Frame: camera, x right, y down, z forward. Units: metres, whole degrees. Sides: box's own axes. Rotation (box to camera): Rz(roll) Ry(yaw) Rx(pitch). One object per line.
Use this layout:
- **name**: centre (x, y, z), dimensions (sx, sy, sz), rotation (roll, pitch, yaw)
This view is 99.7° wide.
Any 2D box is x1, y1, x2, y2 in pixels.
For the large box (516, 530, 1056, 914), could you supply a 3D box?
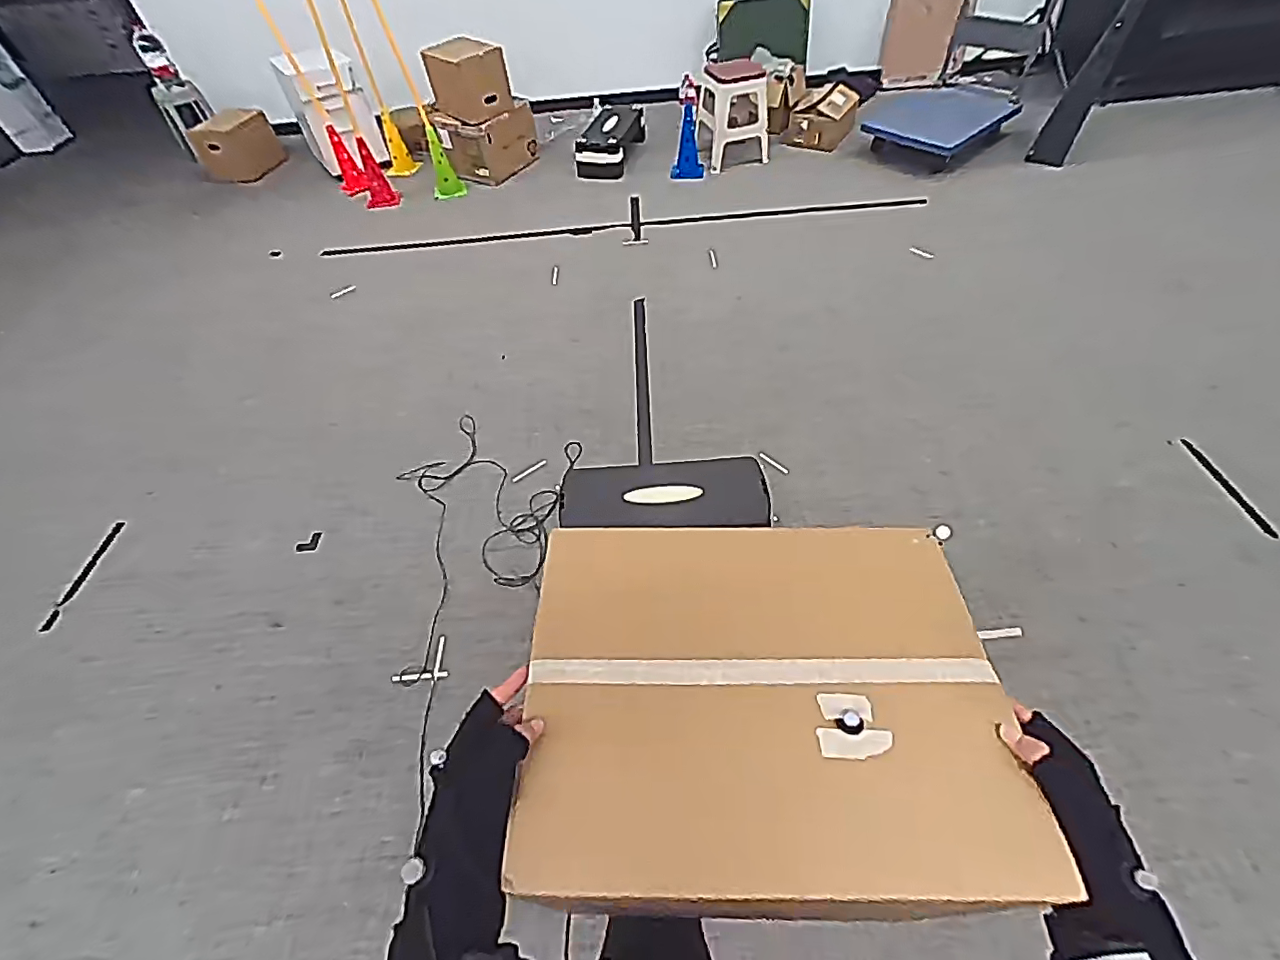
- **large box**: centre (0.106, 0.271, 0.600), dimensions (0.408, 0.320, 0.320), rotation (0, 49, 1)
